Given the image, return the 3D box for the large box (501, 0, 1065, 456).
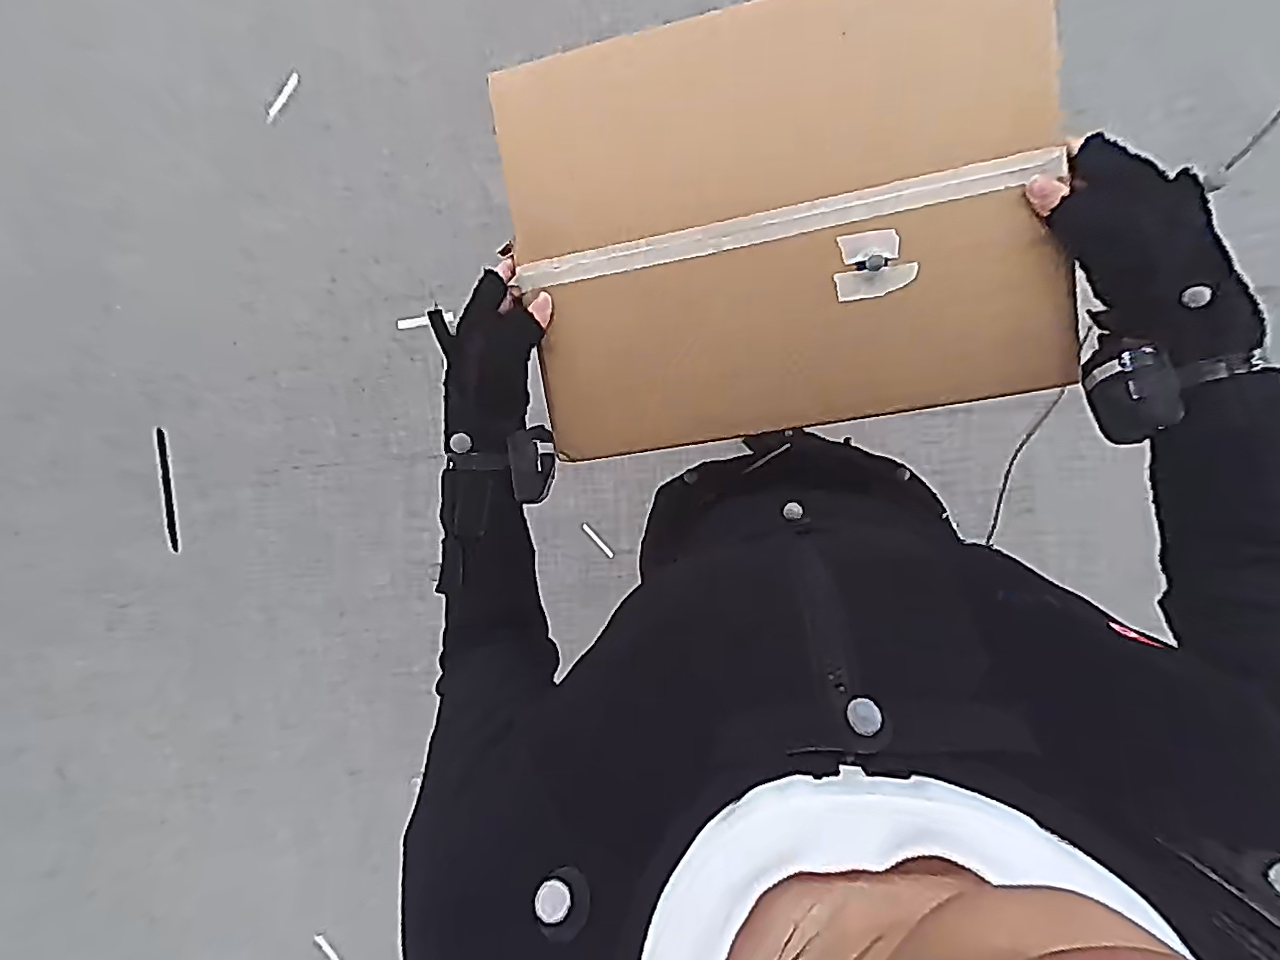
[{"bbox_3d":[0.123,-0.221,0.572,0.408,0.320,0.320,-9,97,8],"label":"large box"}]
